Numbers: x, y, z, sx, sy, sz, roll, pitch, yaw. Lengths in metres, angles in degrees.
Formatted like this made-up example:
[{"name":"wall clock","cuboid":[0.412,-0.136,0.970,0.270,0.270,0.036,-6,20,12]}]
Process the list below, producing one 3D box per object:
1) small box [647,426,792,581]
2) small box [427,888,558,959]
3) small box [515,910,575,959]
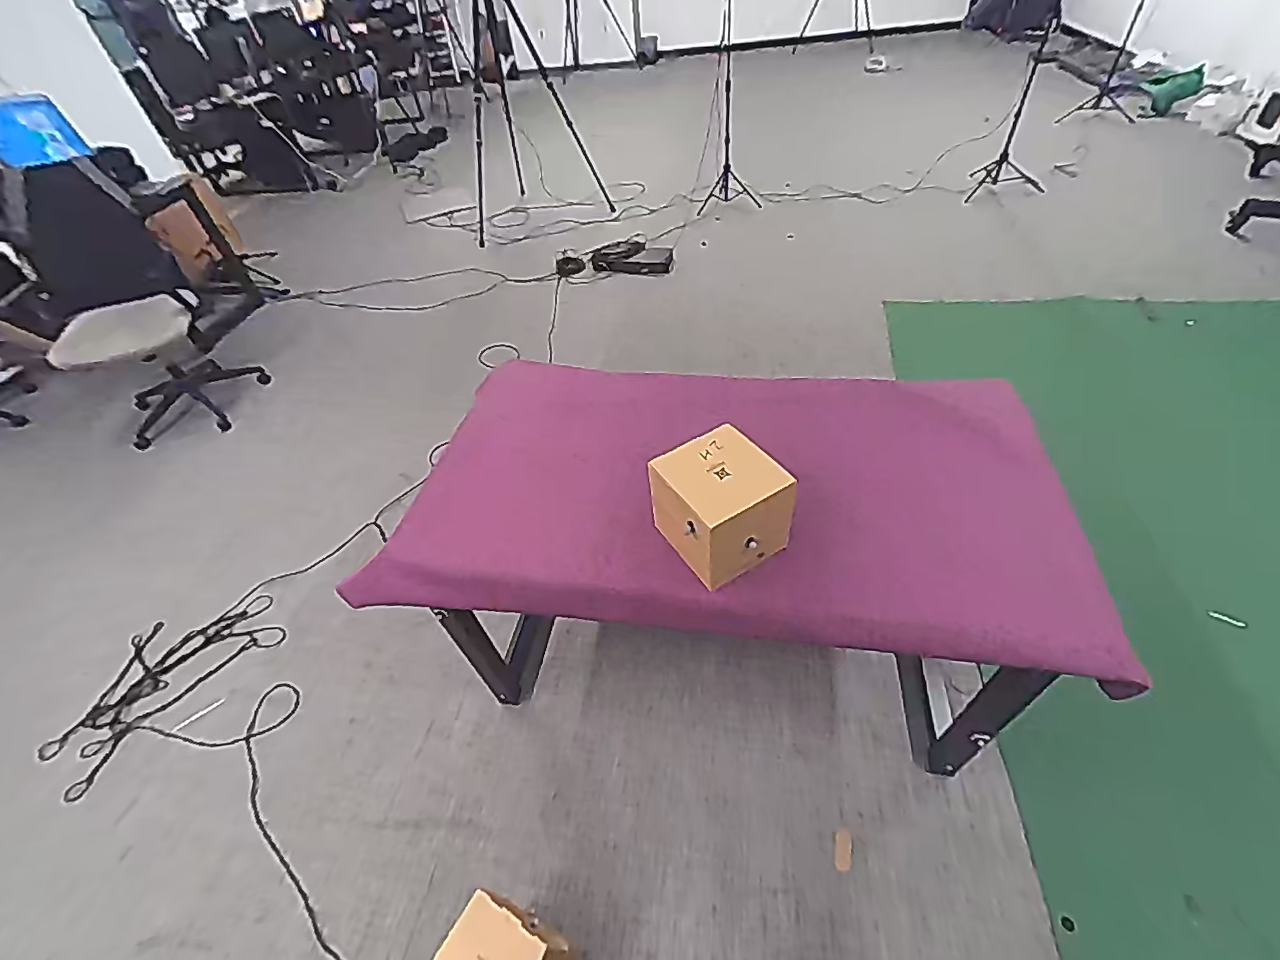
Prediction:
[{"name":"small box","cuboid":[0.129,0.046,0.911,0.168,0.176,0.179,-26,48,-18]},{"name":"small box","cuboid":[-0.267,0.876,0.955,0.168,0.176,0.179,20,51,25]},{"name":"small box","cuboid":[-0.243,0.987,1.071,0.168,0.176,0.179,15,51,21]}]
